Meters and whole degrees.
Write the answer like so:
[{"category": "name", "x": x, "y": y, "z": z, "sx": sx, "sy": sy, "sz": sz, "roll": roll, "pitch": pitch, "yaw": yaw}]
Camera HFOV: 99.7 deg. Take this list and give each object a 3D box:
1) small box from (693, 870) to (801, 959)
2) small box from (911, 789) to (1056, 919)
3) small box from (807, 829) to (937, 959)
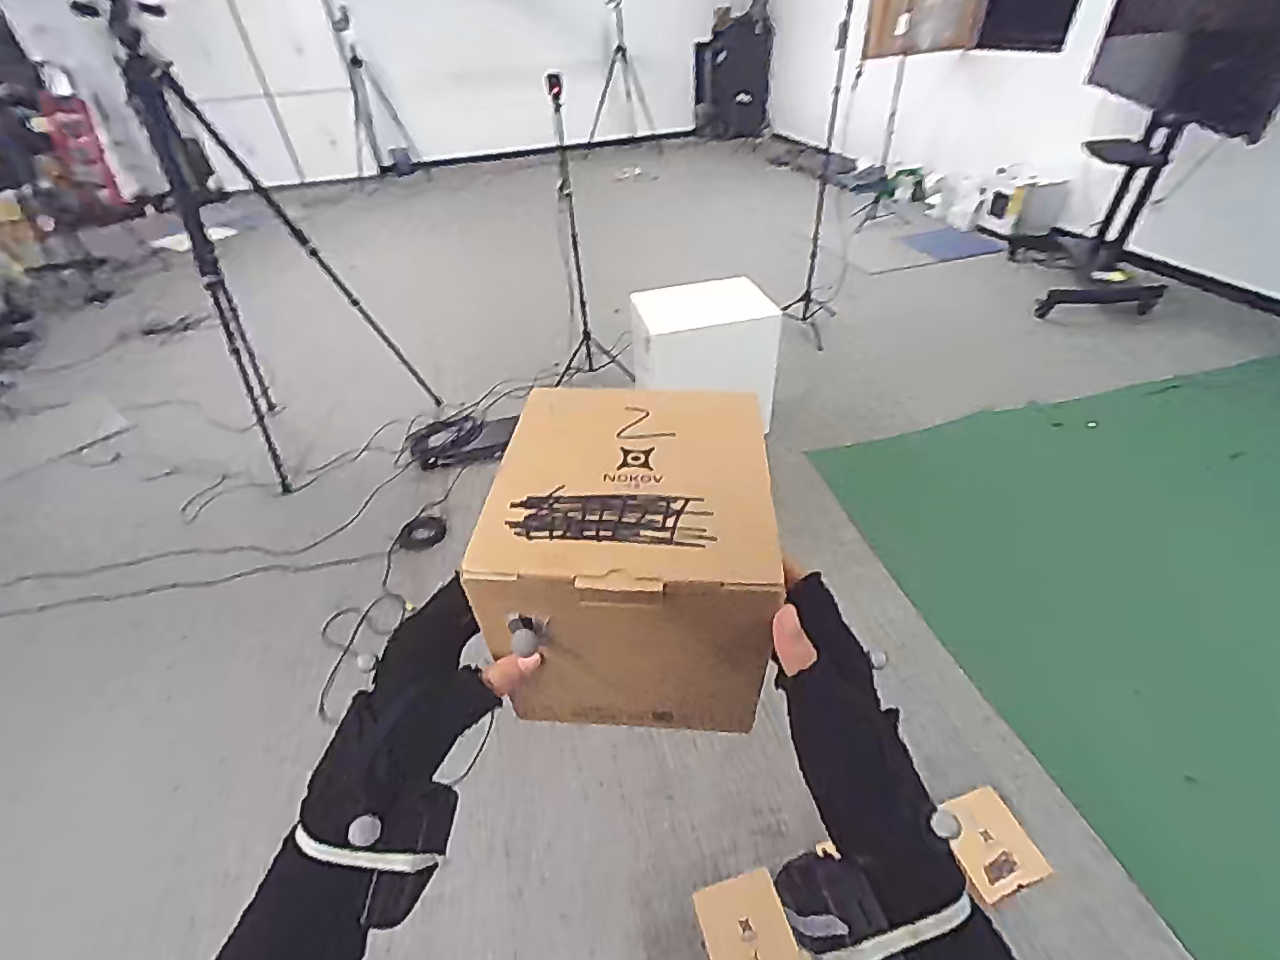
[{"category": "small box", "x": 0.208, "y": 0.922, "z": 1.073, "sx": 0.168, "sy": 0.176, "sz": 0.179, "roll": -14, "pitch": 42, "yaw": -9}, {"category": "small box", "x": 0.725, "y": 0.810, "z": 1.165, "sx": 0.168, "sy": 0.176, "sz": 0.179, "roll": -13, "pitch": 41, "yaw": -11}, {"category": "small box", "x": 0.466, "y": 0.867, "z": 1.121, "sx": 0.168, "sy": 0.176, "sz": 0.179, "roll": -11, "pitch": 42, "yaw": -9}]
